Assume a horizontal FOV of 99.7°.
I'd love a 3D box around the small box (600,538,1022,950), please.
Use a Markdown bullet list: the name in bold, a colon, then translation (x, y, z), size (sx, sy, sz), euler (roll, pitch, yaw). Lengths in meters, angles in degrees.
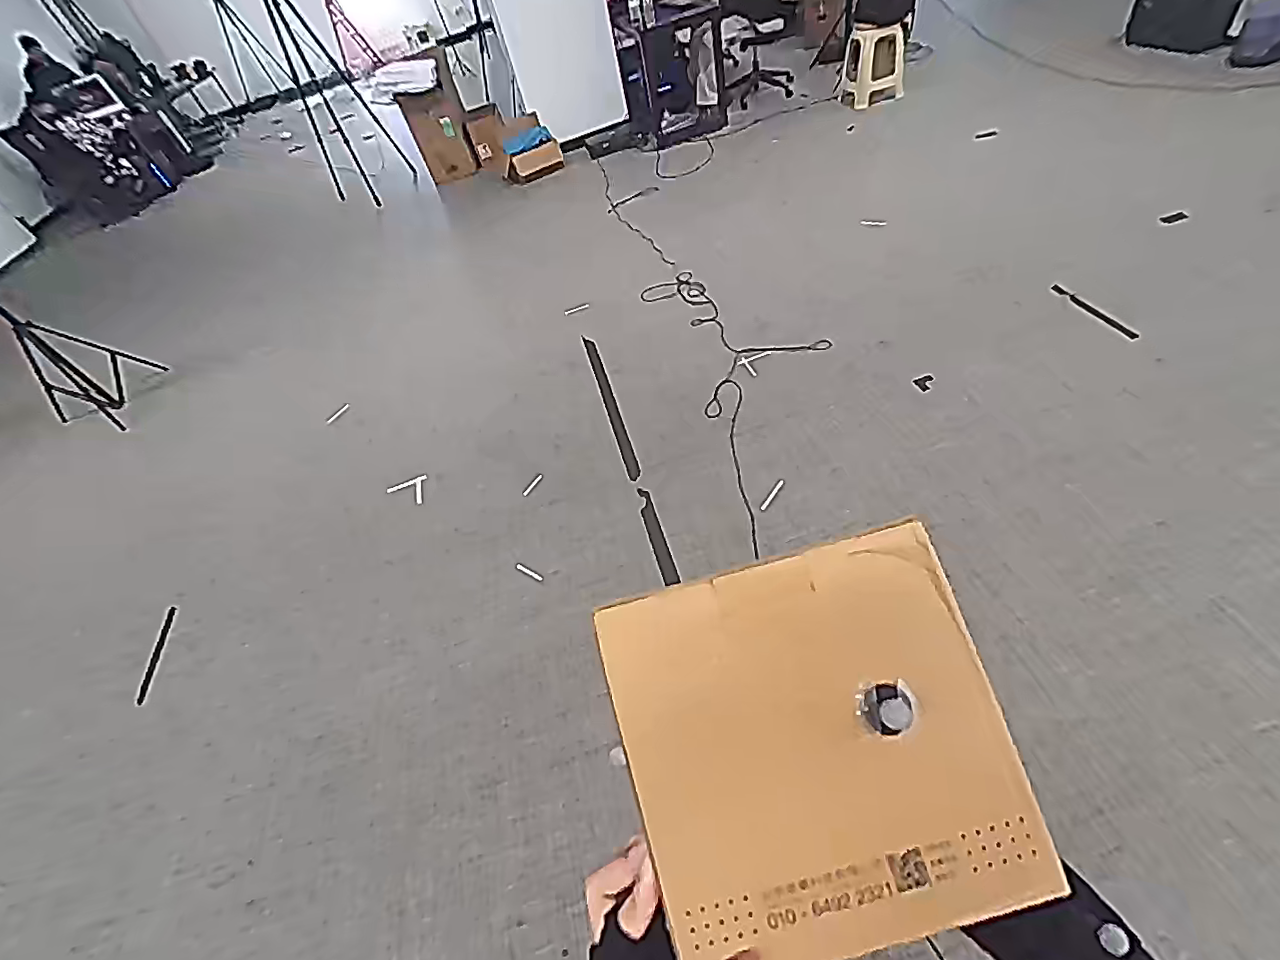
- **small box**: translation (0.086, 0.146, 0.338), size (0.168, 0.179, 0.176), euler (-16, 78, 1)
